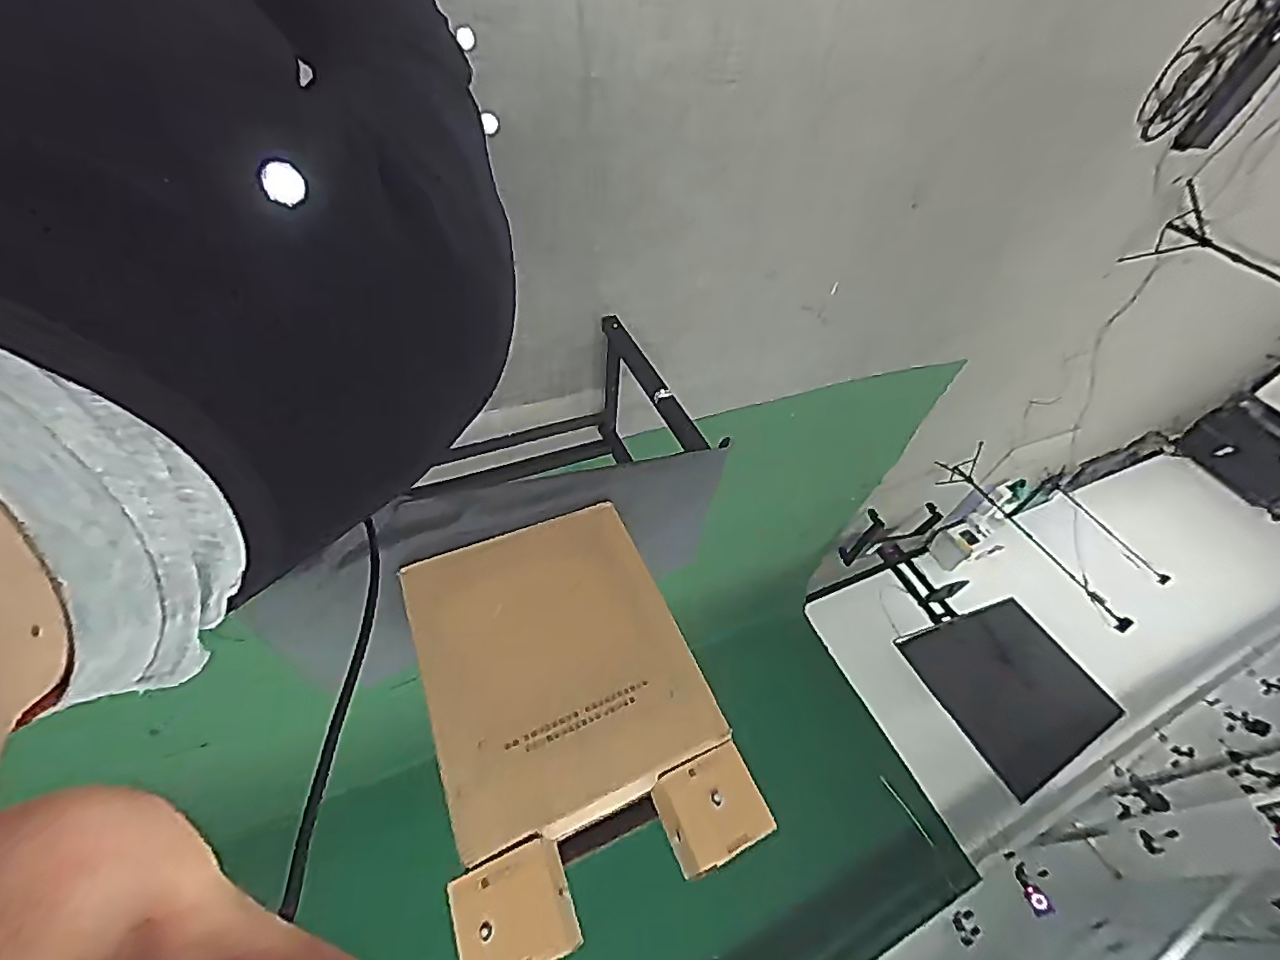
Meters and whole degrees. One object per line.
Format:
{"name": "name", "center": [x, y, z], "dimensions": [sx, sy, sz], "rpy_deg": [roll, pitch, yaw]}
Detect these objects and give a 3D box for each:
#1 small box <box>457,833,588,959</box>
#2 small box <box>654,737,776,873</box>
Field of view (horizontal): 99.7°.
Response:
{"name": "small box", "center": [-0.205, 0.748, 0.949], "dimensions": [0.168, 0.176, 0.179], "rpy_deg": [-21, 147, -12]}
{"name": "small box", "center": [0.140, 0.646, 1.087], "dimensions": [0.168, 0.176, 0.179], "rpy_deg": [-18, 144, -20]}
